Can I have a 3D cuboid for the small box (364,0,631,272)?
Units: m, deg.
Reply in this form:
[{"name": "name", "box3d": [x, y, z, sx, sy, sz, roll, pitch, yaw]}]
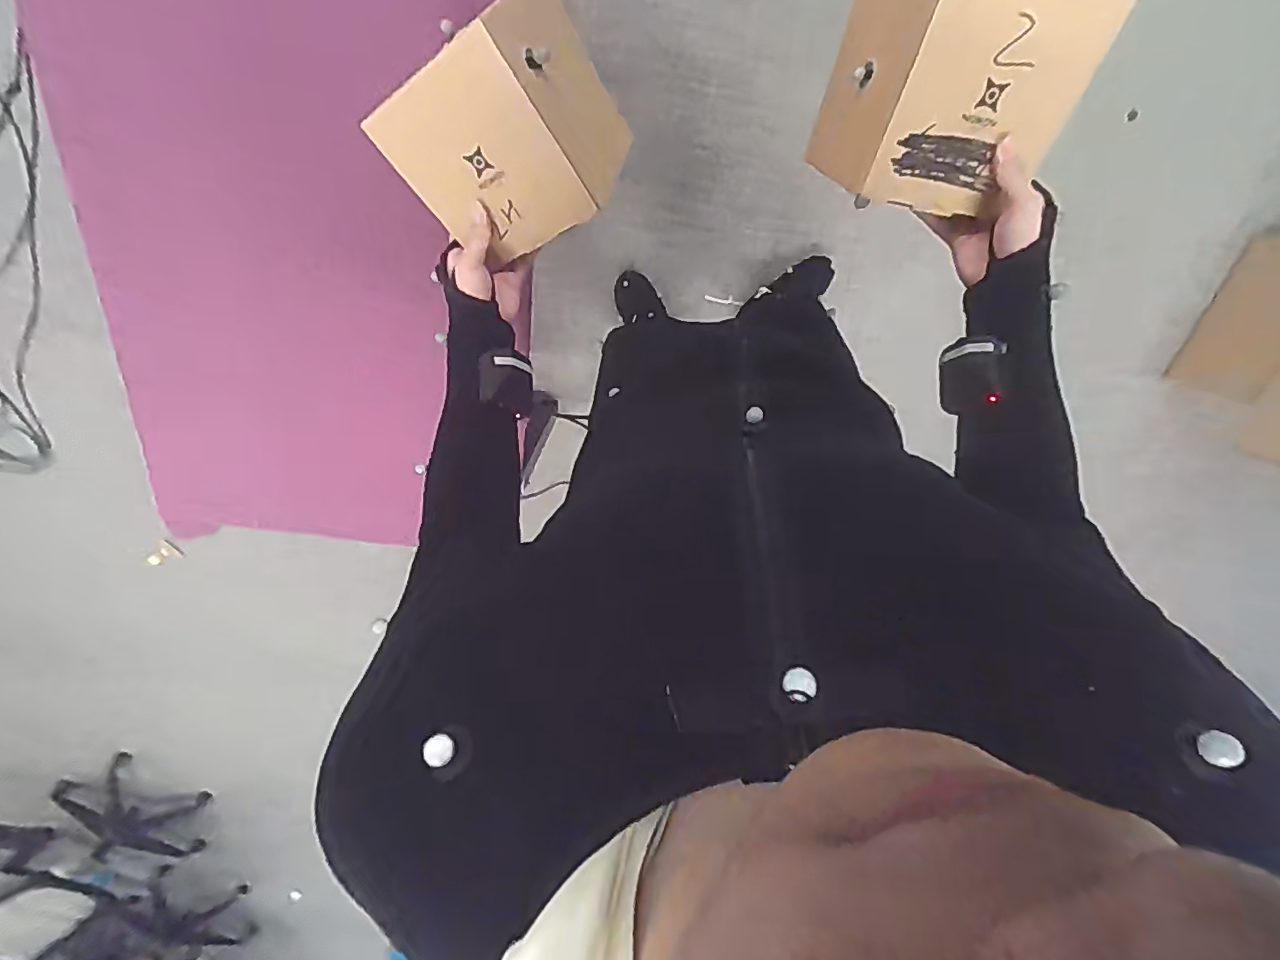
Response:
[{"name": "small box", "box3d": [-0.130, -0.360, 0.557, 0.168, 0.176, 0.179, -12, 138, 30]}]
